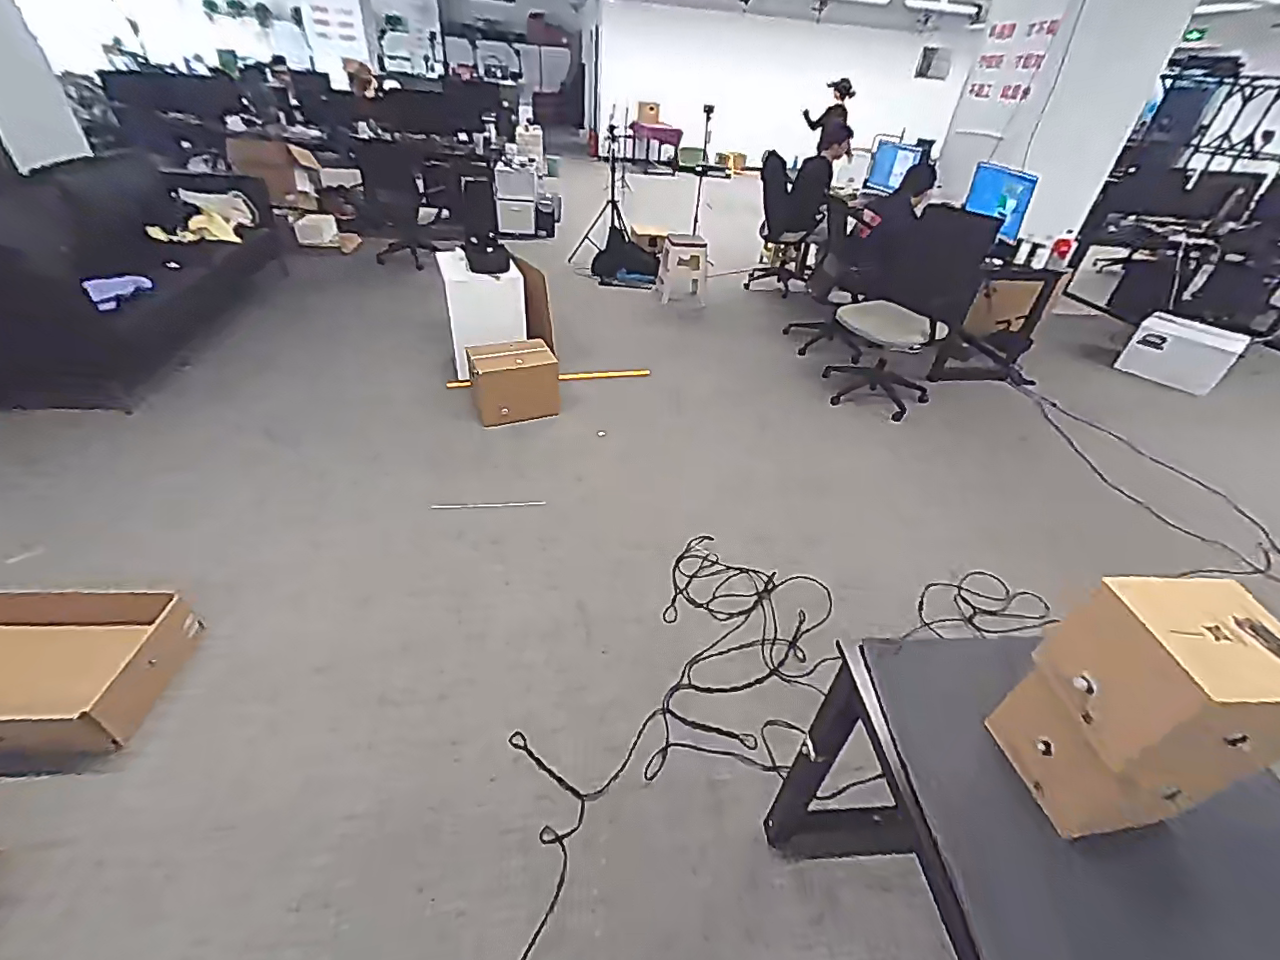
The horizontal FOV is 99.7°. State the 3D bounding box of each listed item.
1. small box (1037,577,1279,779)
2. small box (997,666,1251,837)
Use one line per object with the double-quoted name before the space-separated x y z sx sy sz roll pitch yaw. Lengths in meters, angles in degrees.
"small box" 0.637 0.236 0.646 0.179 0.176 0.168 2 38 -3
"small box" 0.640 0.366 0.749 0.179 0.176 0.168 -2 39 -10
